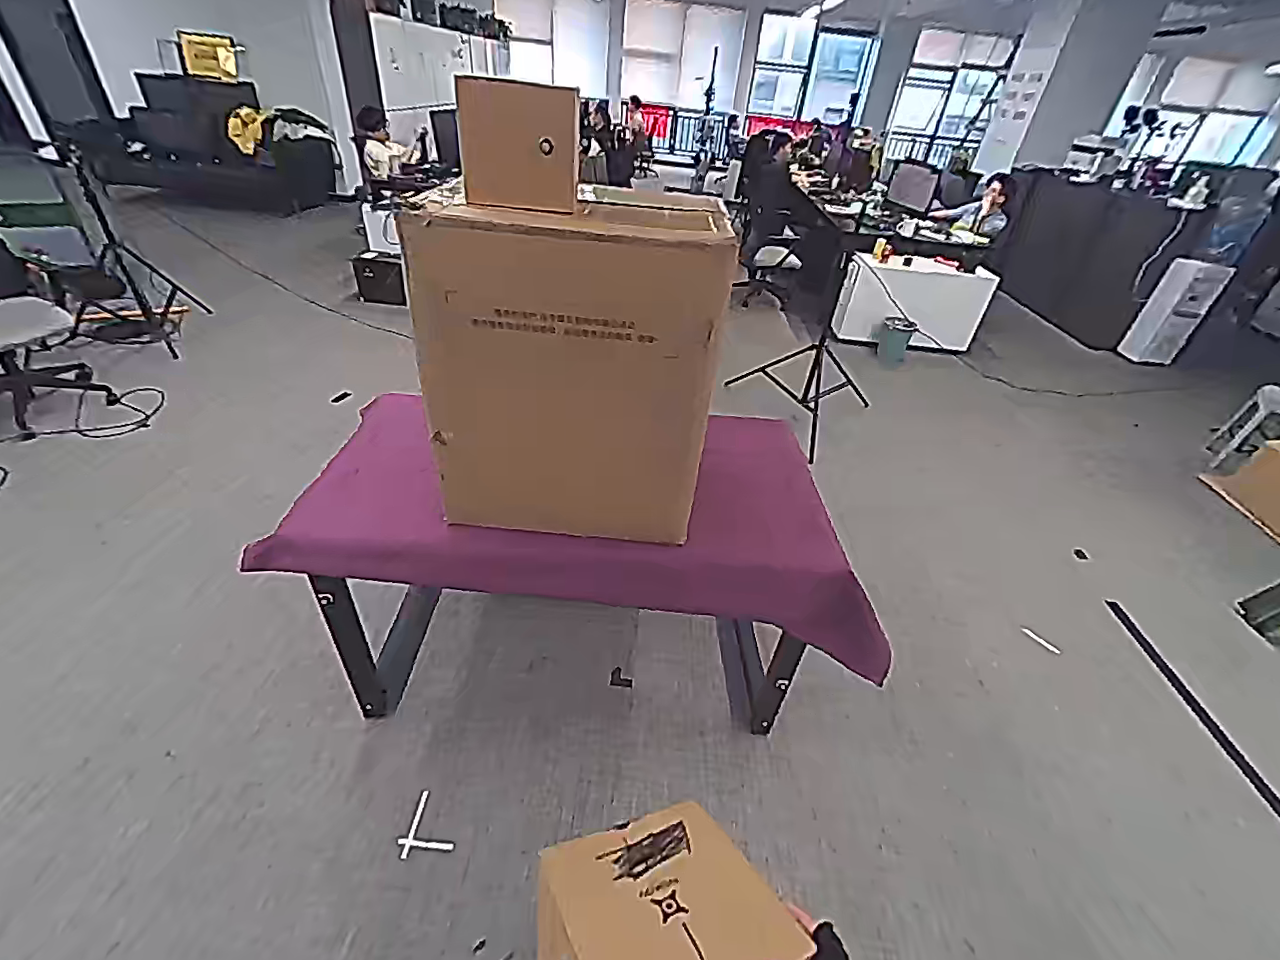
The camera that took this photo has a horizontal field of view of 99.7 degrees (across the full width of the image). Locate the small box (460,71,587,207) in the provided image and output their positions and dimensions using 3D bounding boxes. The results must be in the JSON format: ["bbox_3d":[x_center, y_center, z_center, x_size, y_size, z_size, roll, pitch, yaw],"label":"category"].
[{"bbox_3d":[-0.180,-0.551,0.879,0.179,0.176,0.168,2,36,-5],"label":"small box"}]

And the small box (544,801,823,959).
[{"bbox_3d":[0.022,0.411,0.438,0.168,0.176,0.179,-2,5,-27],"label":"small box"}]
